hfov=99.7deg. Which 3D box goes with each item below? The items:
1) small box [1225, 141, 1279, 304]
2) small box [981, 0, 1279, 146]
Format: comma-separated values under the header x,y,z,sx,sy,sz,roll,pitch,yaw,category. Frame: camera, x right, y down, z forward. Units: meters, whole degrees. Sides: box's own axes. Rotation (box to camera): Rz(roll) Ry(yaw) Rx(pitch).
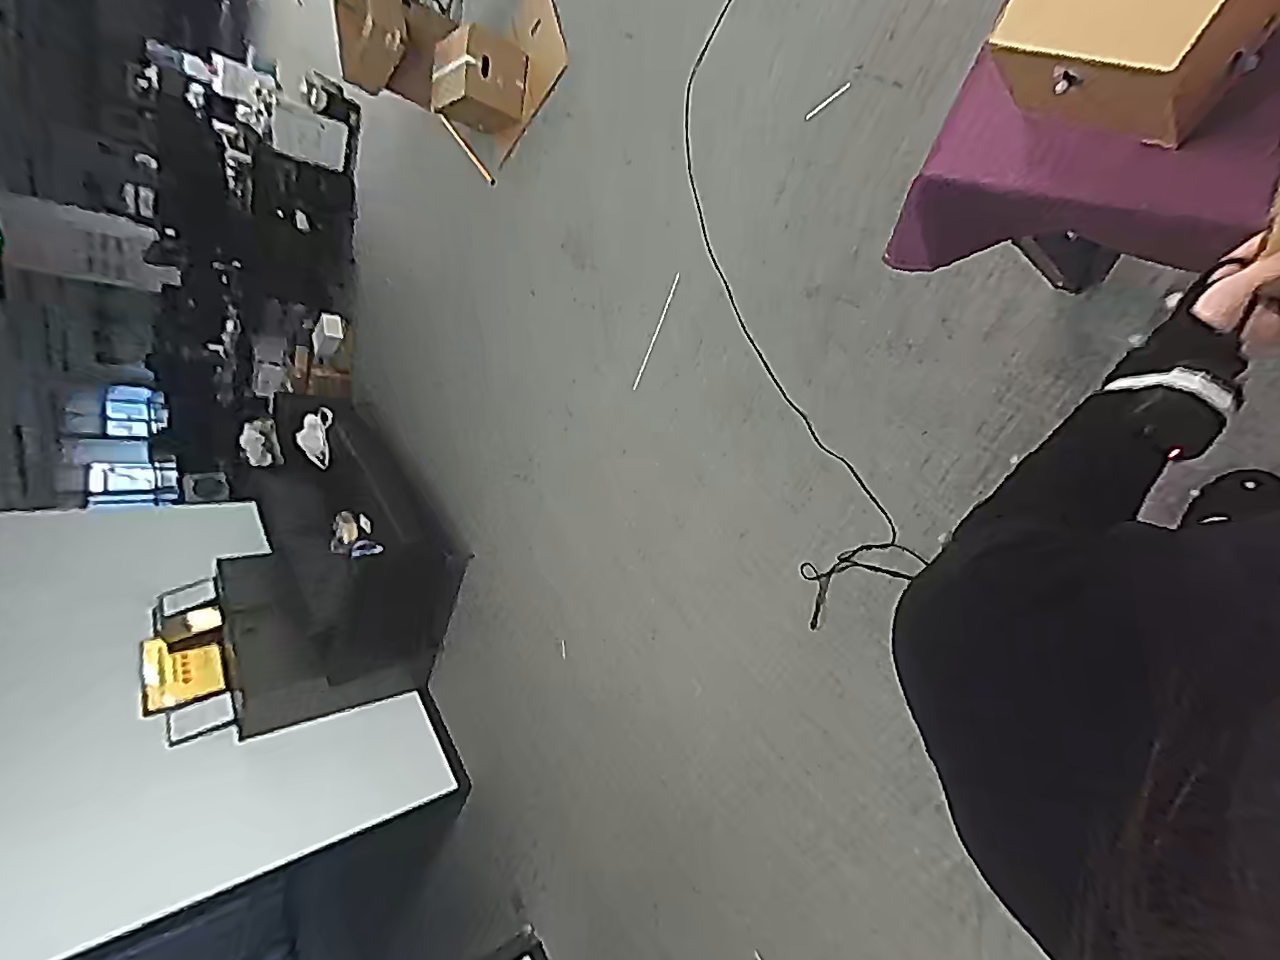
x,y,z,sx,sy,sz,roll,pitch,yaw,category
0.581,-0.235,0.379,0.179,0.176,0.168,25,147,46,small box
0.488,-0.460,0.528,0.179,0.176,0.168,48,124,34,small box
